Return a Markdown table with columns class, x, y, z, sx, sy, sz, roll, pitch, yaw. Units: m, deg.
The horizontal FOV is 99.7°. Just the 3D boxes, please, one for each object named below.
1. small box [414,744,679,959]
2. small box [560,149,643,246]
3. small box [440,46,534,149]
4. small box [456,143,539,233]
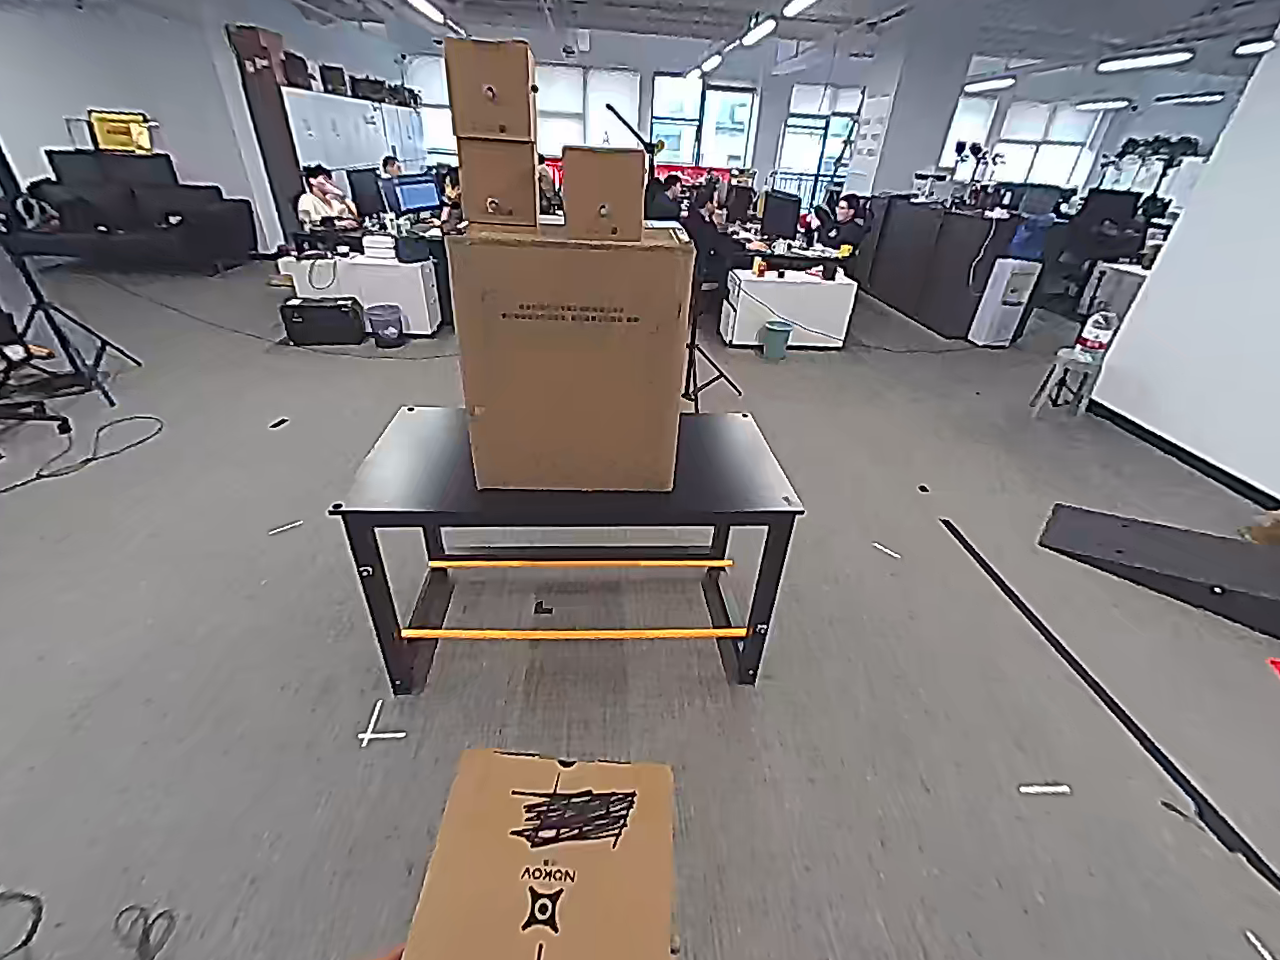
| class | x | y | z | sx | sy | sz | roll | pitch | yaw |
| --- | --- | --- | --- | --- | --- | --- | --- | --- | --- |
| small box | -0.060 | 0.333 | 0.415 | 0.168 | 0.176 | 0.179 | 4 | 39 | 0 |
| small box | -0.085 | -0.614 | 1.172 | 0.168 | 0.176 | 0.179 | -2 | 33 | -5 |
| small box | -0.318 | -0.816 | 1.166 | 0.168 | 0.176 | 0.179 | -1 | 32 | -7 |
| small box | -0.325 | -0.684 | 1.265 | 0.168 | 0.176 | 0.179 | -2 | 32 | -8 |
